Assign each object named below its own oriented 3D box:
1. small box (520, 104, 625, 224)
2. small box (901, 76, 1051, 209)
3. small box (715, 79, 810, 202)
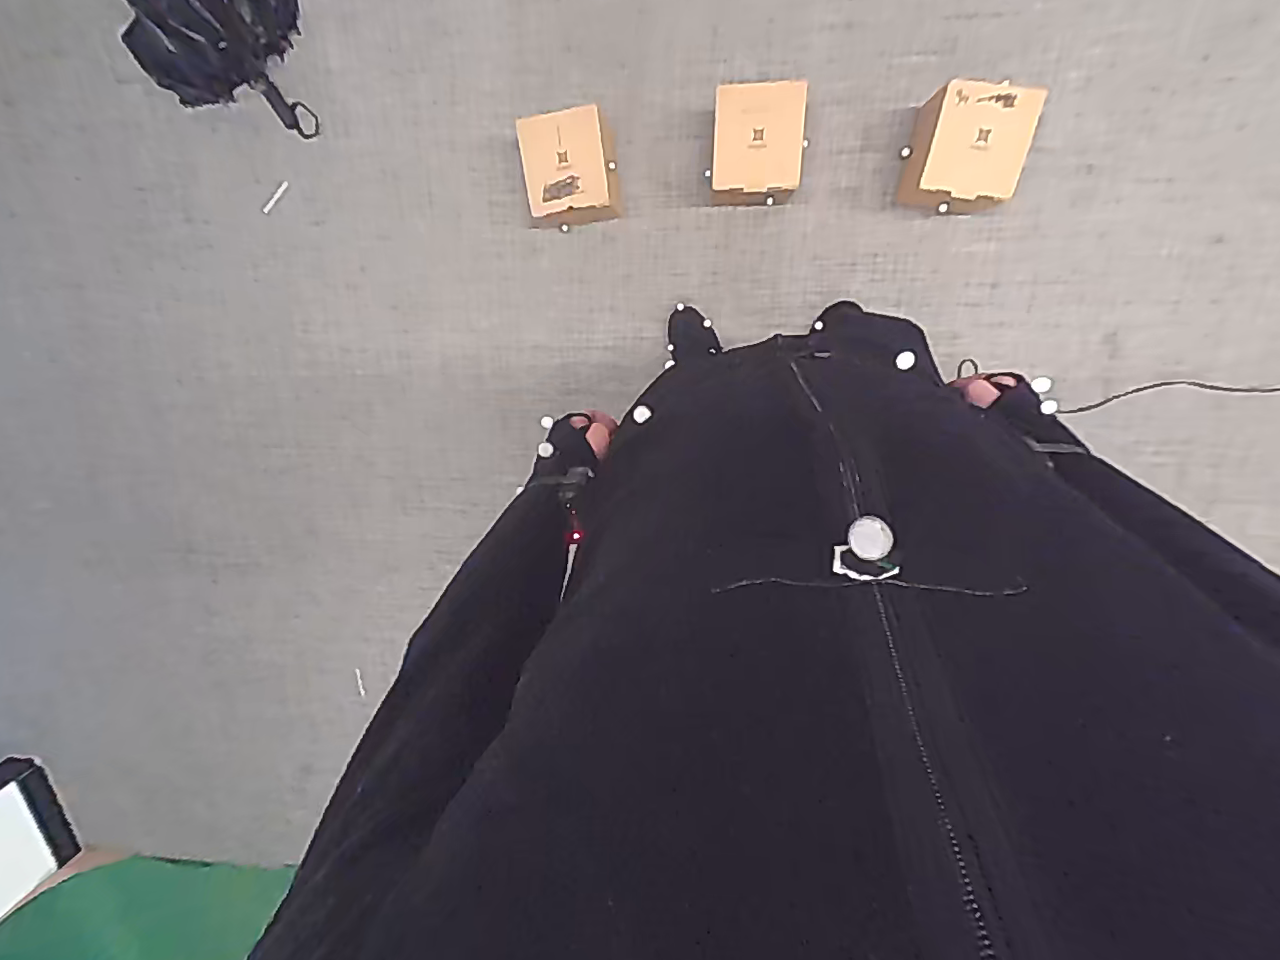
[{"bbox_3d":[-0.132,-0.646,1.132,0.168,0.176,0.179,-6,107,10],"label":"small box"},{"bbox_3d":[0.621,-0.629,1.029,0.168,0.176,0.179,11,111,5],"label":"small box"},{"bbox_3d":[0.235,-0.662,1.076,0.168,0.176,0.179,1,107,7],"label":"small box"}]
